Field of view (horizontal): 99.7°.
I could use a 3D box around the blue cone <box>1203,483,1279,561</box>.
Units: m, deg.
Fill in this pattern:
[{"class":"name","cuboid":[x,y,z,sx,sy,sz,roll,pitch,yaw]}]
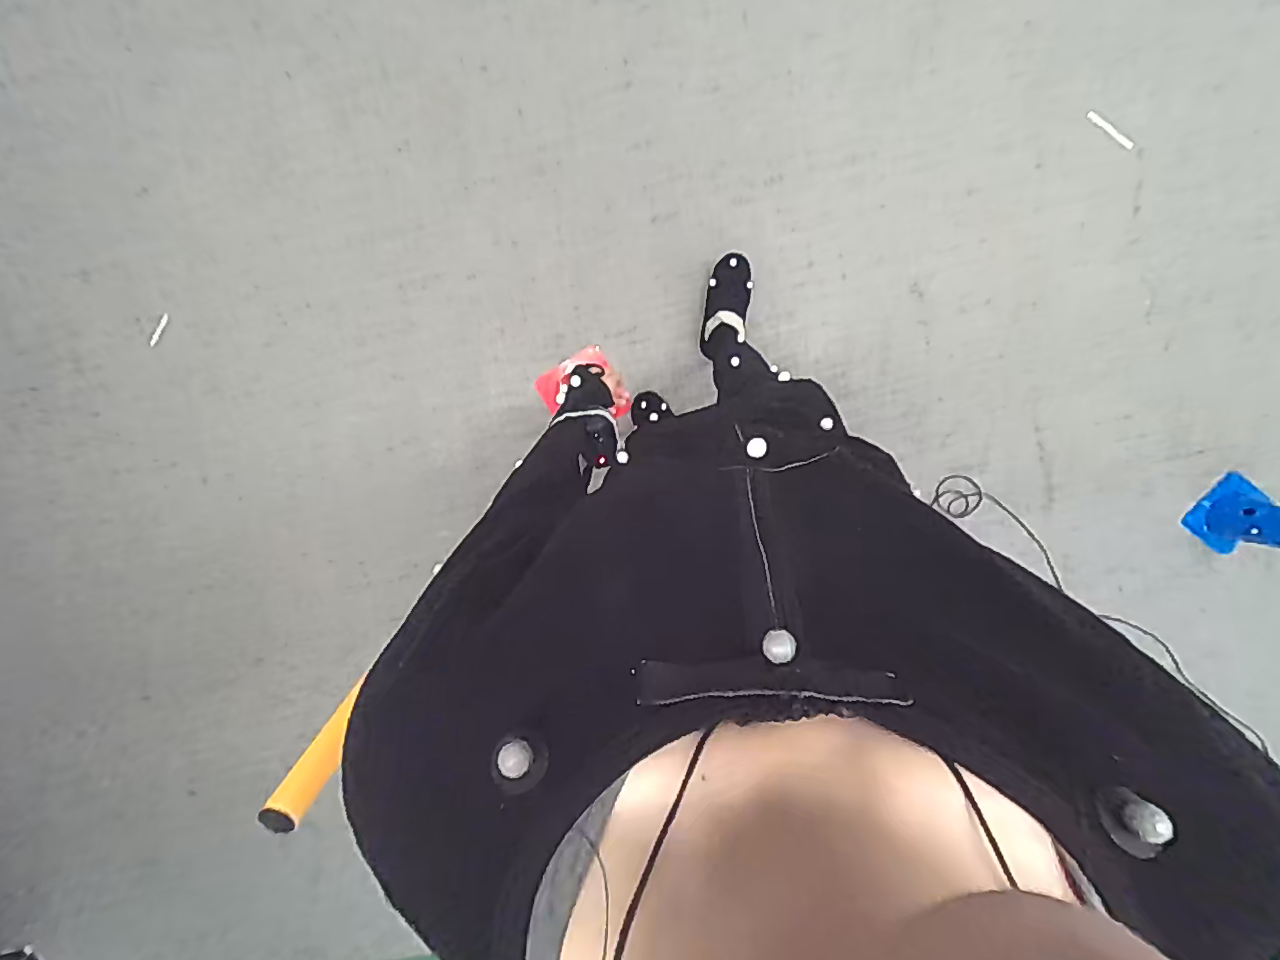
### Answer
[{"class":"blue cone","cuboid":[1.716,0.158,1.373,0.192,0.380,0.193,31,101,-8]}]
